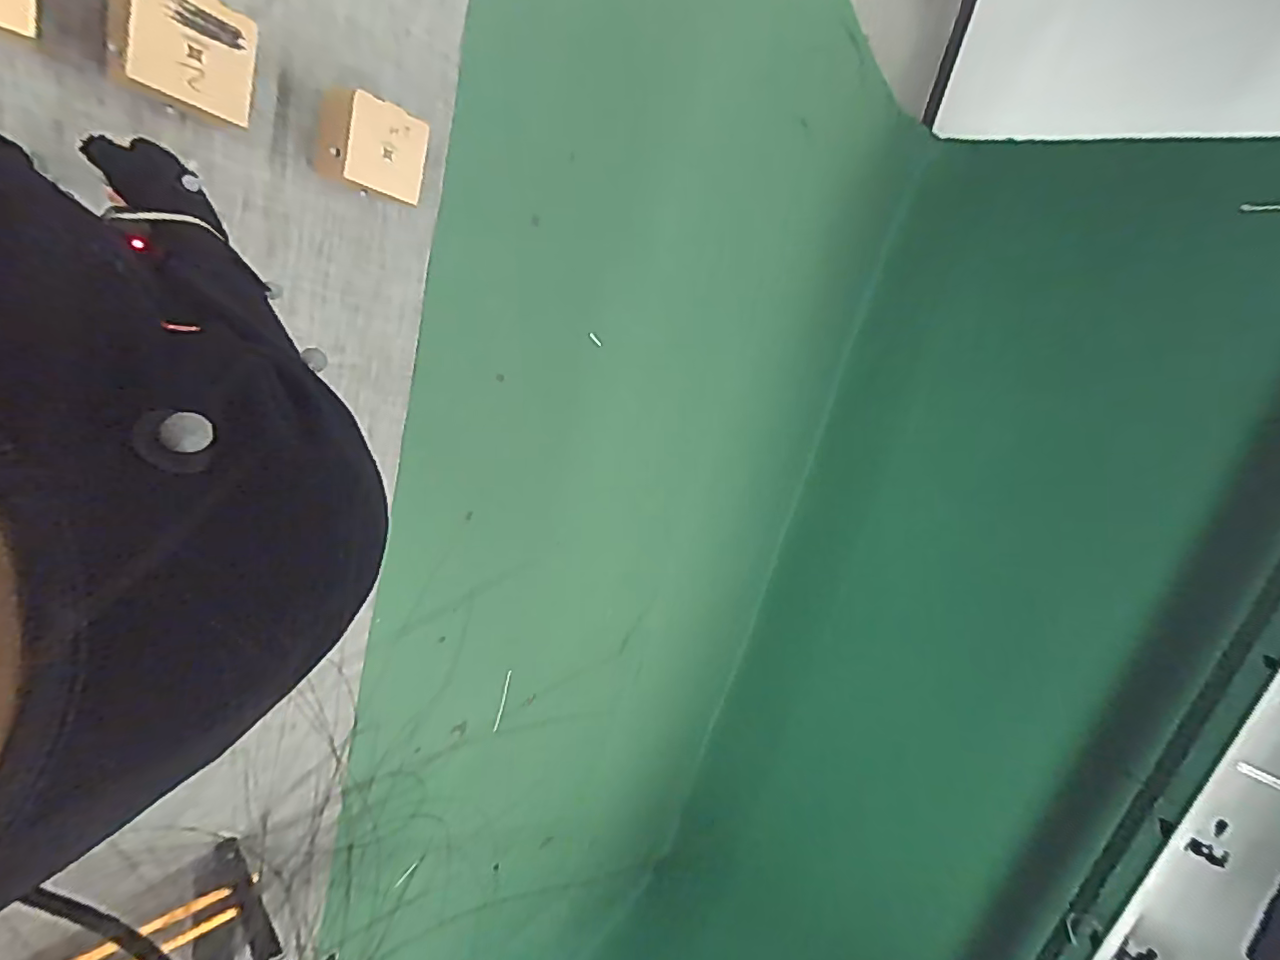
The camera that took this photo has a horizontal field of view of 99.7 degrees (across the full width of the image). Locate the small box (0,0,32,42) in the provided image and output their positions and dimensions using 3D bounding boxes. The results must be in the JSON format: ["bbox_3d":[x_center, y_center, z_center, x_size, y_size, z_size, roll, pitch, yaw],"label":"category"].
[{"bbox_3d":[-0.965,-0.750,0.746,0.168,0.176,0.179,-2,112,-51],"label":"small box"}]

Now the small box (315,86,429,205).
[{"bbox_3d":[-0.606,-0.744,1.214,0.168,0.176,0.179,-2,113,-52],"label":"small box"}]
